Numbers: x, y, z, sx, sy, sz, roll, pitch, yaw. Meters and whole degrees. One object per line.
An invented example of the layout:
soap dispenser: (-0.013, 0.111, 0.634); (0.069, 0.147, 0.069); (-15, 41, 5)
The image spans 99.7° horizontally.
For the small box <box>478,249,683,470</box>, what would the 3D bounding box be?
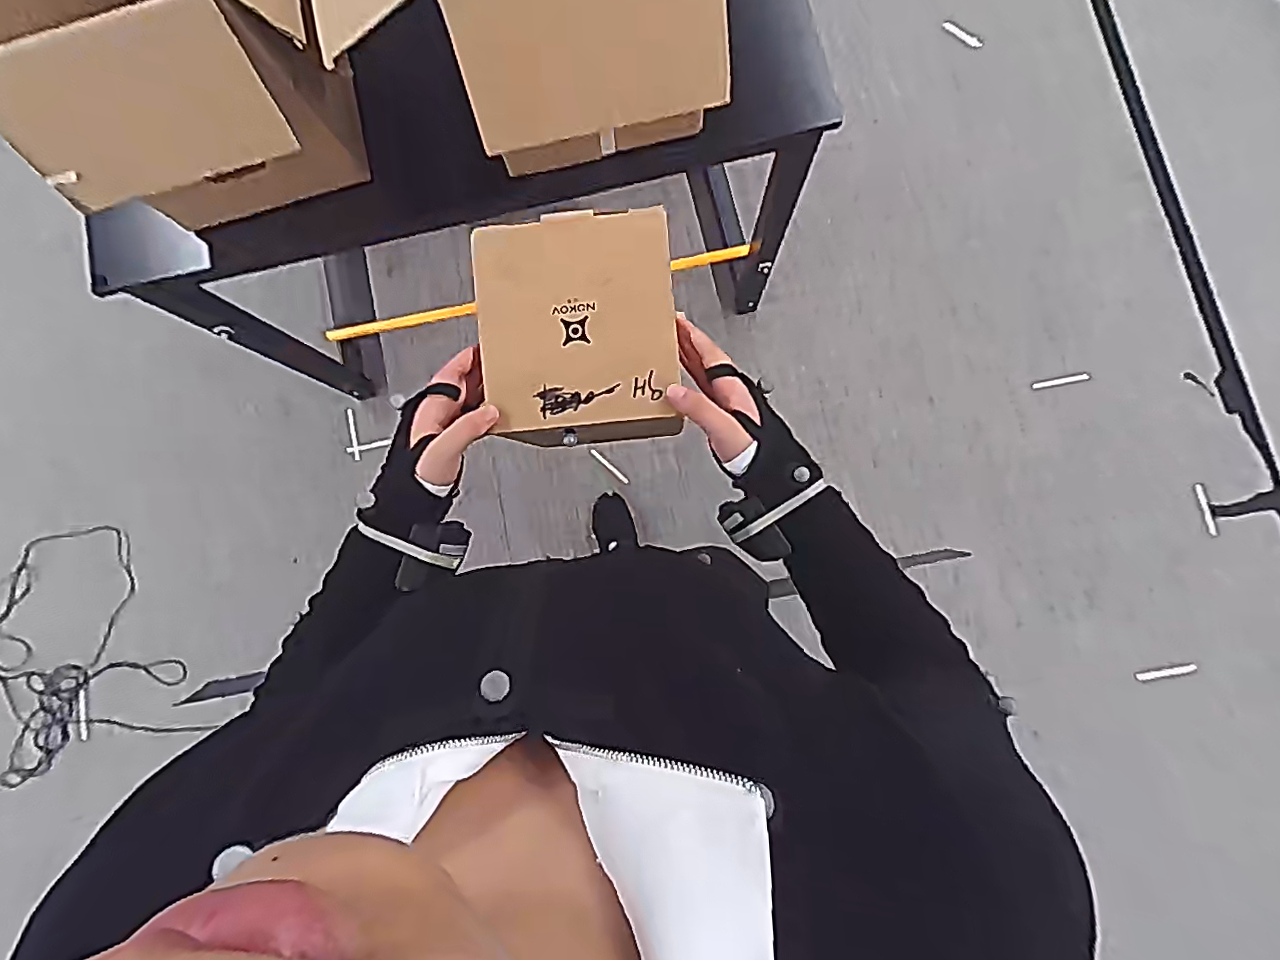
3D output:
small box: (-0.048, -0.103, 0.538); (0.168, 0.176, 0.179); (-5, 91, 3)
